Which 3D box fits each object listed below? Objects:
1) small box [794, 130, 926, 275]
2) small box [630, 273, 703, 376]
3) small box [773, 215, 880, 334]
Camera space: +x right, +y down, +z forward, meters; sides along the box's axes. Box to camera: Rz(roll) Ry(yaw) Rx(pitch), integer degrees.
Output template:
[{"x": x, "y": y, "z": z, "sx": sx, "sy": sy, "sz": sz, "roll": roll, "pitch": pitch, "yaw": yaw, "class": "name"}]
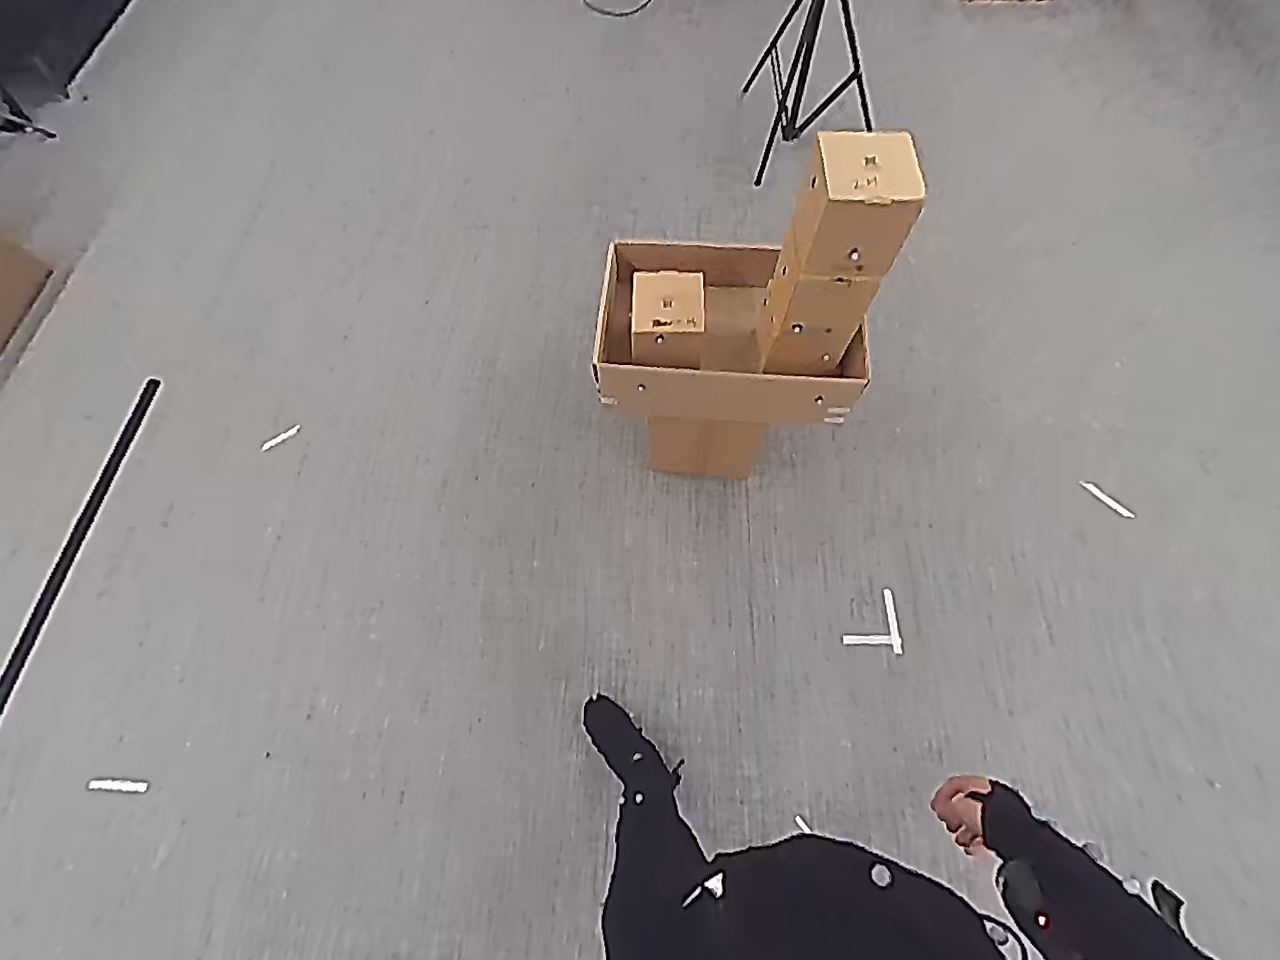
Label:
[{"x": 0.390, "y": -0.504, "z": 0.993, "sx": 0.168, "sy": 0.176, "sz": 0.179, "roll": 1, "pitch": 67, "yaw": 1, "class": "small box"}, {"x": 0.063, "y": -0.372, "z": 1.301, "sx": 0.168, "sy": 0.176, "sz": 0.179, "roll": 0, "pitch": 66, "yaw": 2, "class": "small box"}, {"x": 0.382, "y": -0.427, "z": 1.138, "sx": 0.168, "sy": 0.176, "sz": 0.179, "roll": 1, "pitch": 66, "yaw": 1, "class": "small box"}]
